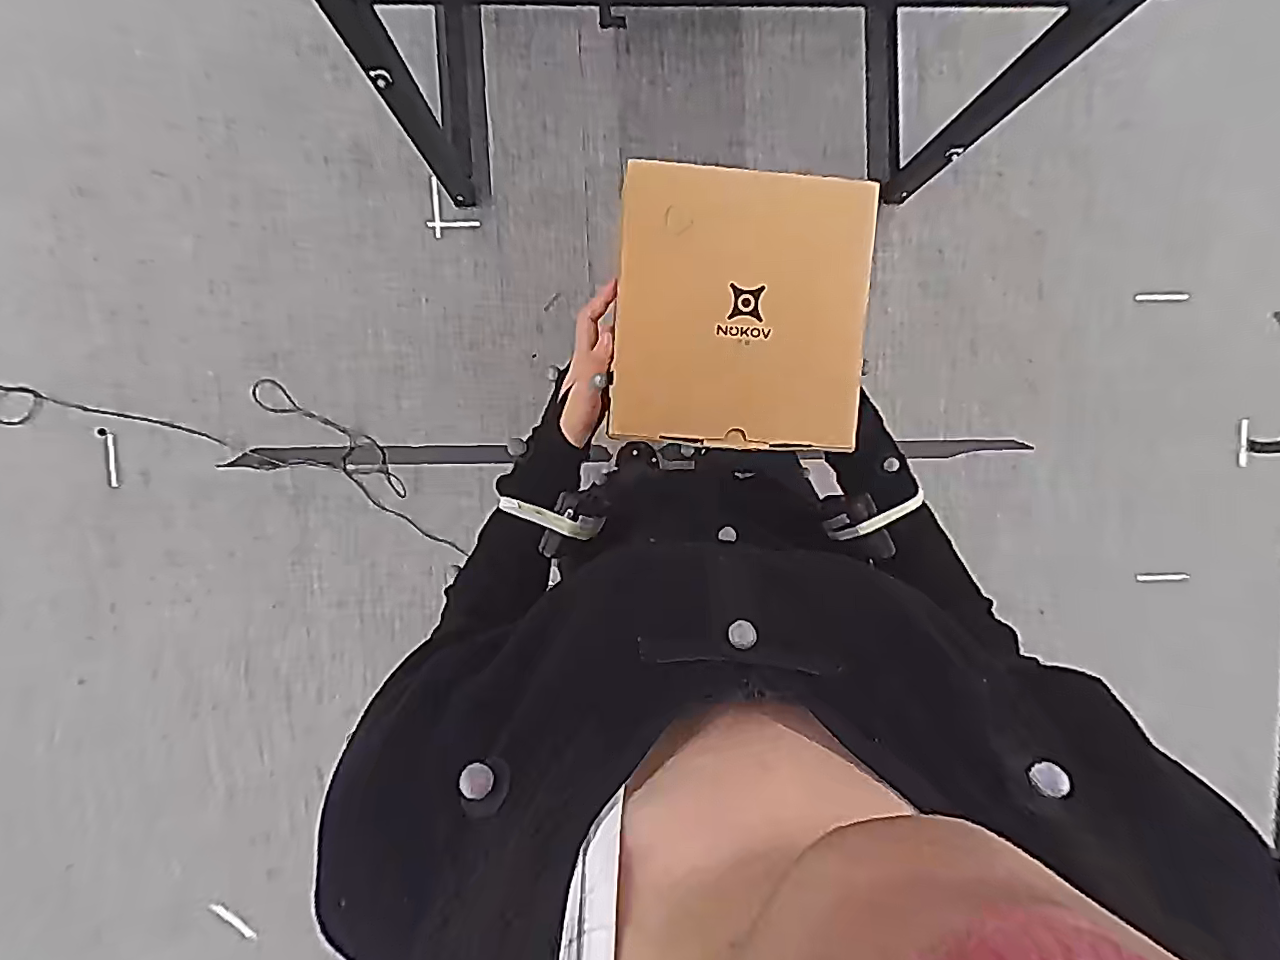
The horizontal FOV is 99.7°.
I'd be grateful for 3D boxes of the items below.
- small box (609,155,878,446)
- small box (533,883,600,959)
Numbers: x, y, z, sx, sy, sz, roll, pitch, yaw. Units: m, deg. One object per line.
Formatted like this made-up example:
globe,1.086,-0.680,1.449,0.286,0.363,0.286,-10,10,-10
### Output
small box,0.062,-0.119,0.428,0.168,0.176,0.179,2,95,-4
small box,-0.197,1.261,1.487,0.168,0.176,0.179,-3,94,-3
